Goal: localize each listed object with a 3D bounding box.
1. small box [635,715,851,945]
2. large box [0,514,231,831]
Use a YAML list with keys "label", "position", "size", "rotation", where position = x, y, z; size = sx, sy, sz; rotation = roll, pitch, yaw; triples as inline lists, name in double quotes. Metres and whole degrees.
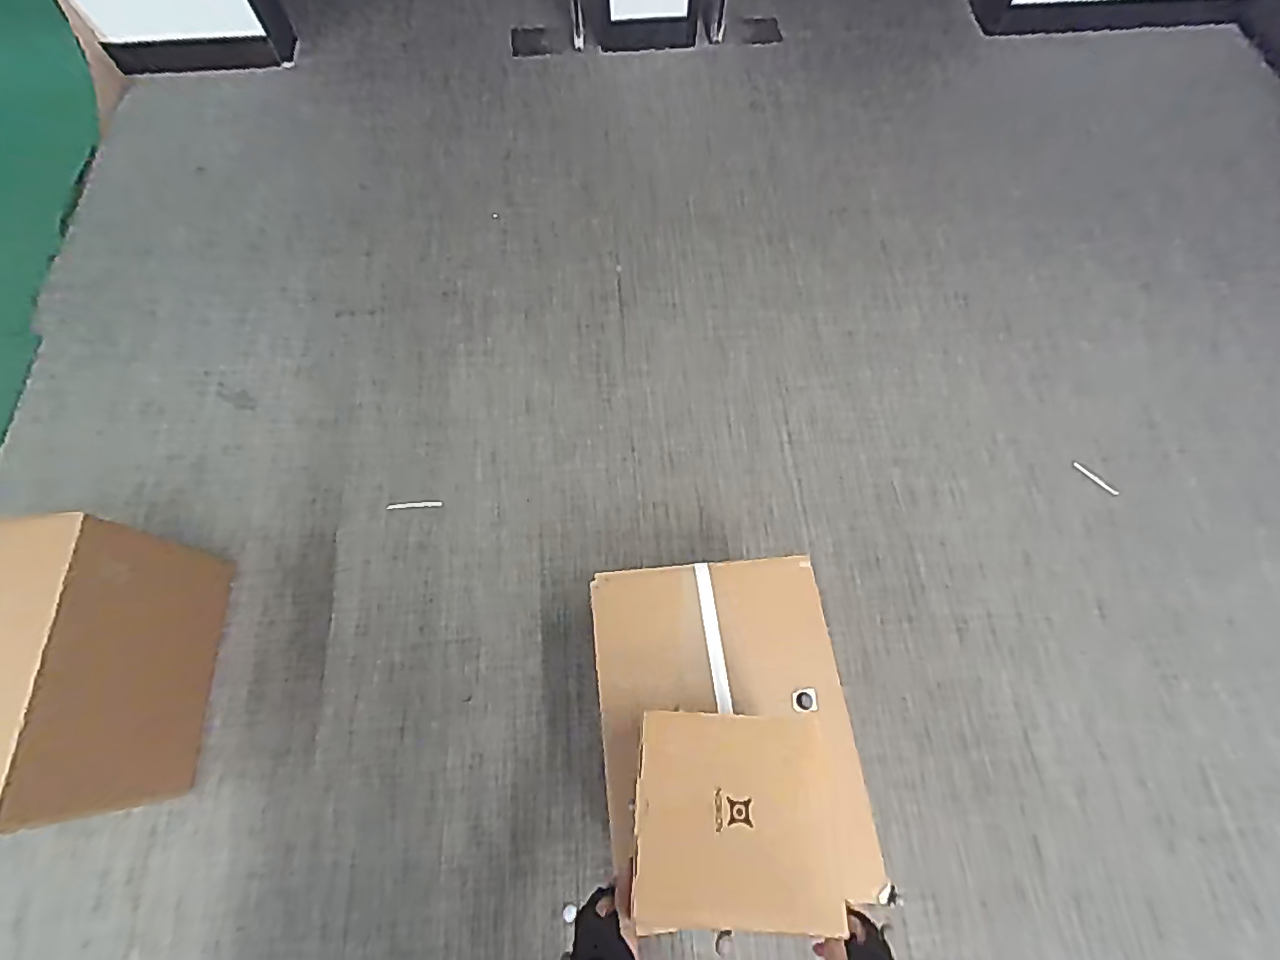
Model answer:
- label: "small box"
  position: [0.088, 0.346, 0.543]
  size: [0.179, 0.176, 0.168]
  rotation: [1, 53, 3]
- label: "large box"
  position: [-0.917, 0.304, 0.832]
  size: [0.320, 0.320, 0.408]
  rotation: [-6, 67, -2]
